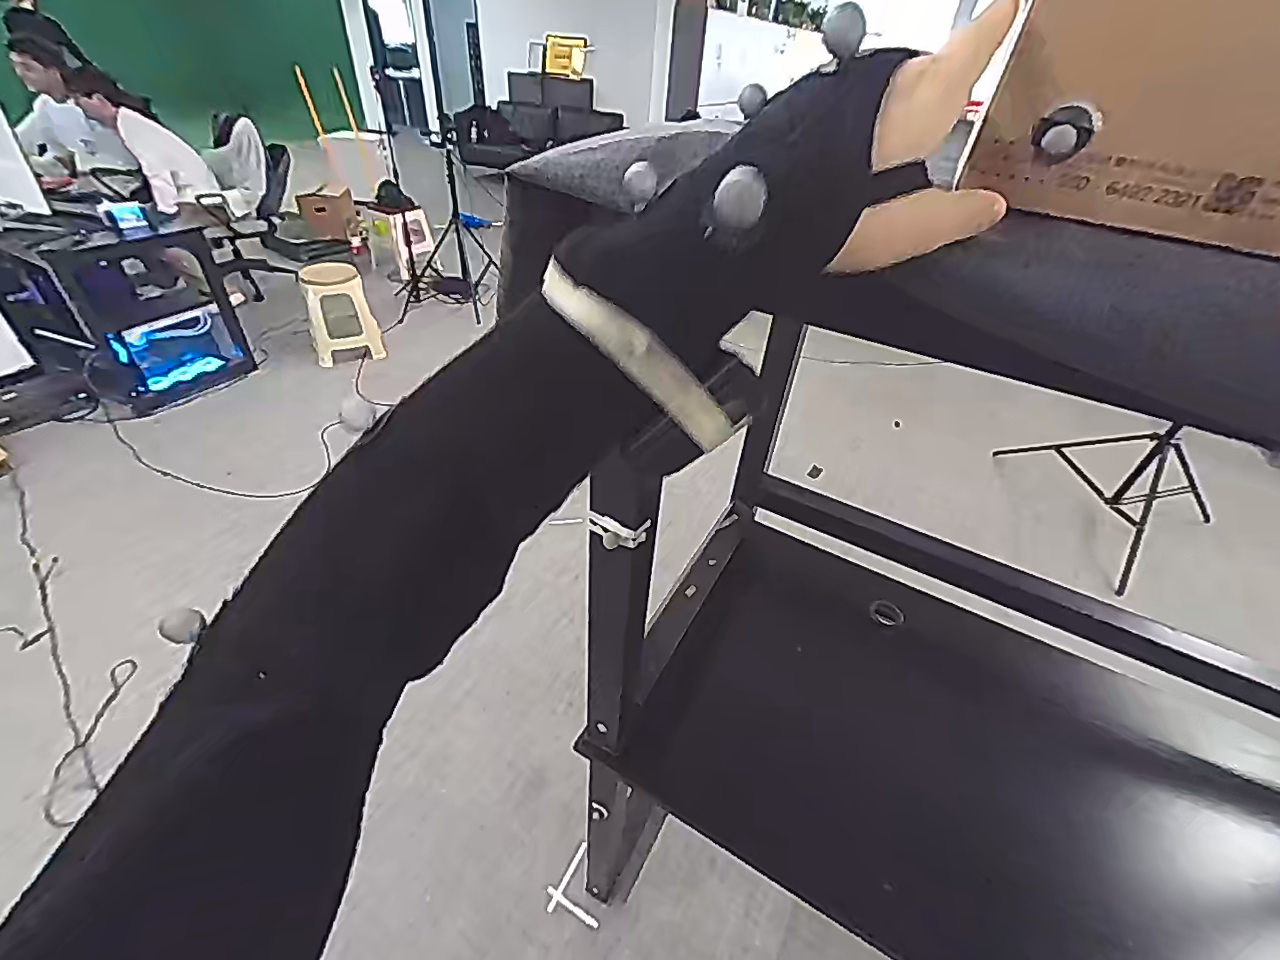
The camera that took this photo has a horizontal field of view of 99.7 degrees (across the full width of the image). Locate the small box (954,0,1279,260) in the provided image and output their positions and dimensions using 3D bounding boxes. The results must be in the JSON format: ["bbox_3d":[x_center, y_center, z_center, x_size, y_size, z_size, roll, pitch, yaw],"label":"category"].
[{"bbox_3d":[0.274,-0.218,0.259,0.168,0.176,0.179,22,39,17],"label":"small box"}]
